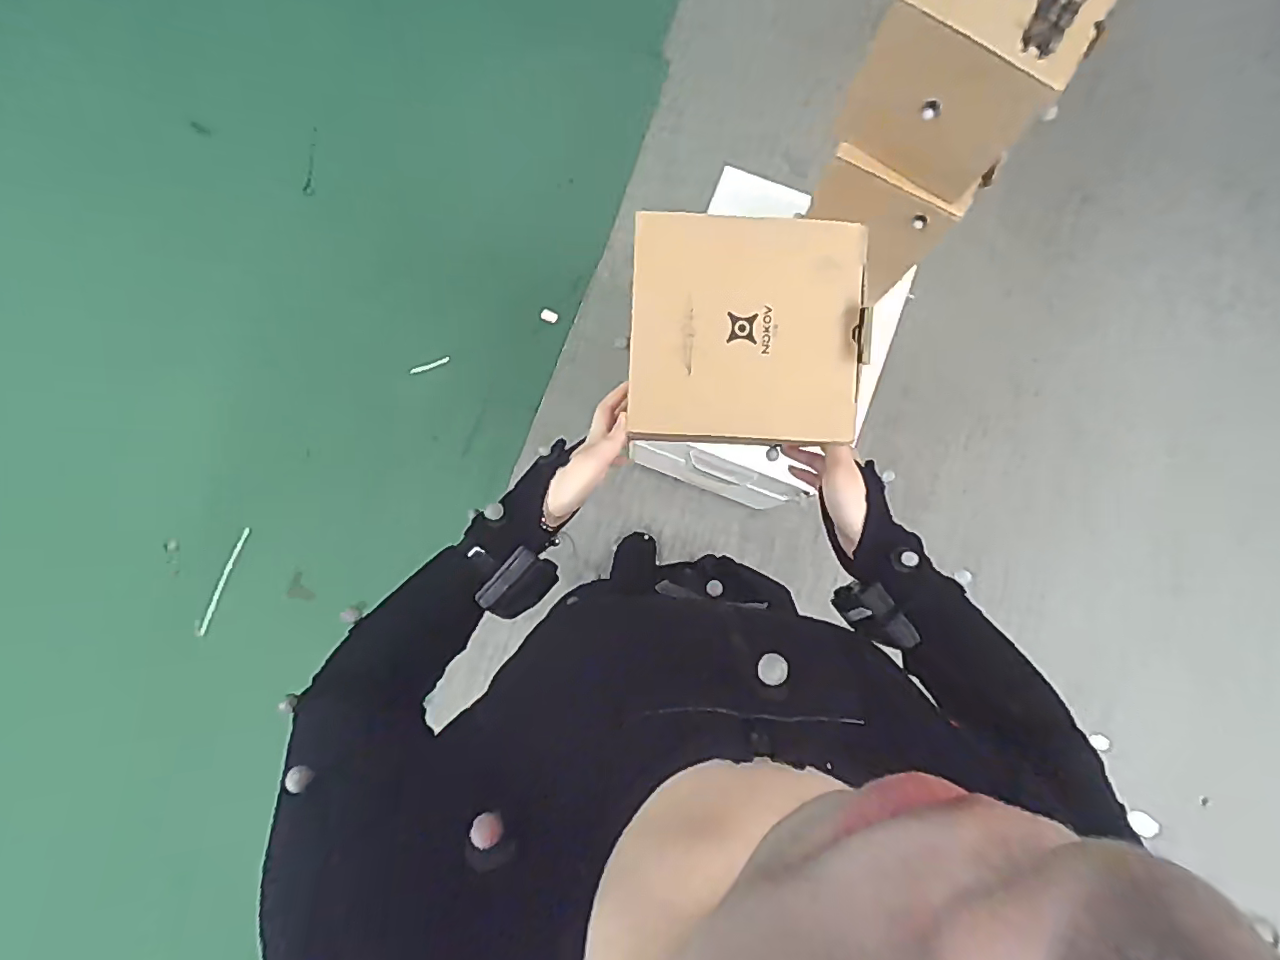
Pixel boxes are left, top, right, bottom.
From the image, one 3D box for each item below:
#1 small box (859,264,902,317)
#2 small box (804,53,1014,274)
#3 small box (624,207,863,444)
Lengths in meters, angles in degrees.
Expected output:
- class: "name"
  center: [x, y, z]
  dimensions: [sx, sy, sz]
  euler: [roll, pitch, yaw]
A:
- class: "small box"
  center: [0.352, -0.400, 0.905]
  dimensions: [0.179, 0.176, 0.168]
  euler: [28, 85, 3]
- class: "small box"
  center: [0.349, -0.417, 0.743]
  dimensions: [0.179, 0.176, 0.168]
  euler: [28, 84, 2]
- class: "small box"
  center: [0.076, -0.120, 0.482]
  dimensions: [0.179, 0.176, 0.168]
  euler: [2, 91, 0]
